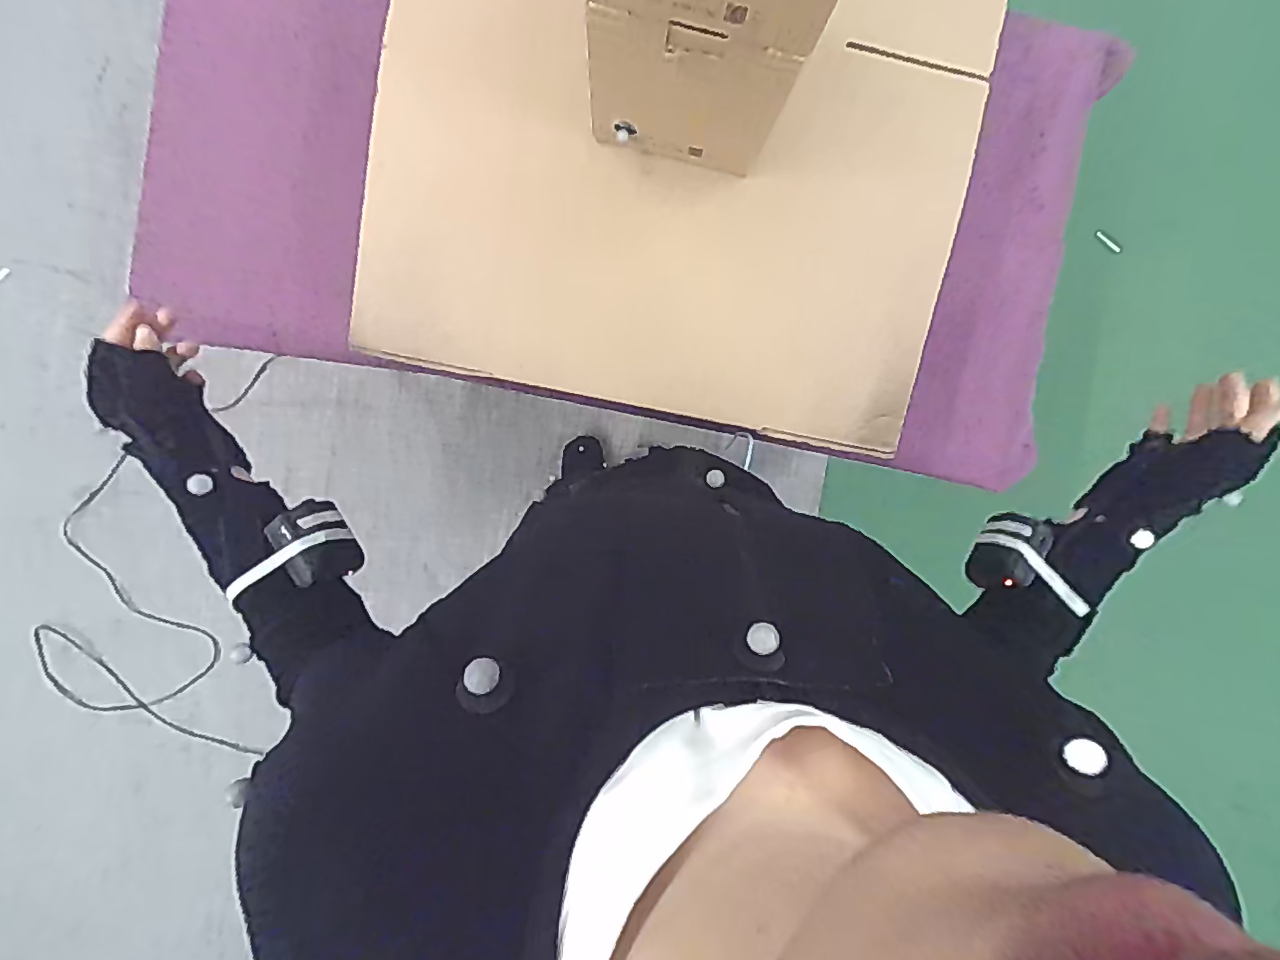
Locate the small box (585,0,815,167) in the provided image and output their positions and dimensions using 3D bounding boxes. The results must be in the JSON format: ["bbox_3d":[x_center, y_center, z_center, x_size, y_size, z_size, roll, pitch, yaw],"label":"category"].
[{"bbox_3d":[0.054,-0.409,0.465,0.168,0.176,0.179,12,92,-4],"label":"small box"}]
